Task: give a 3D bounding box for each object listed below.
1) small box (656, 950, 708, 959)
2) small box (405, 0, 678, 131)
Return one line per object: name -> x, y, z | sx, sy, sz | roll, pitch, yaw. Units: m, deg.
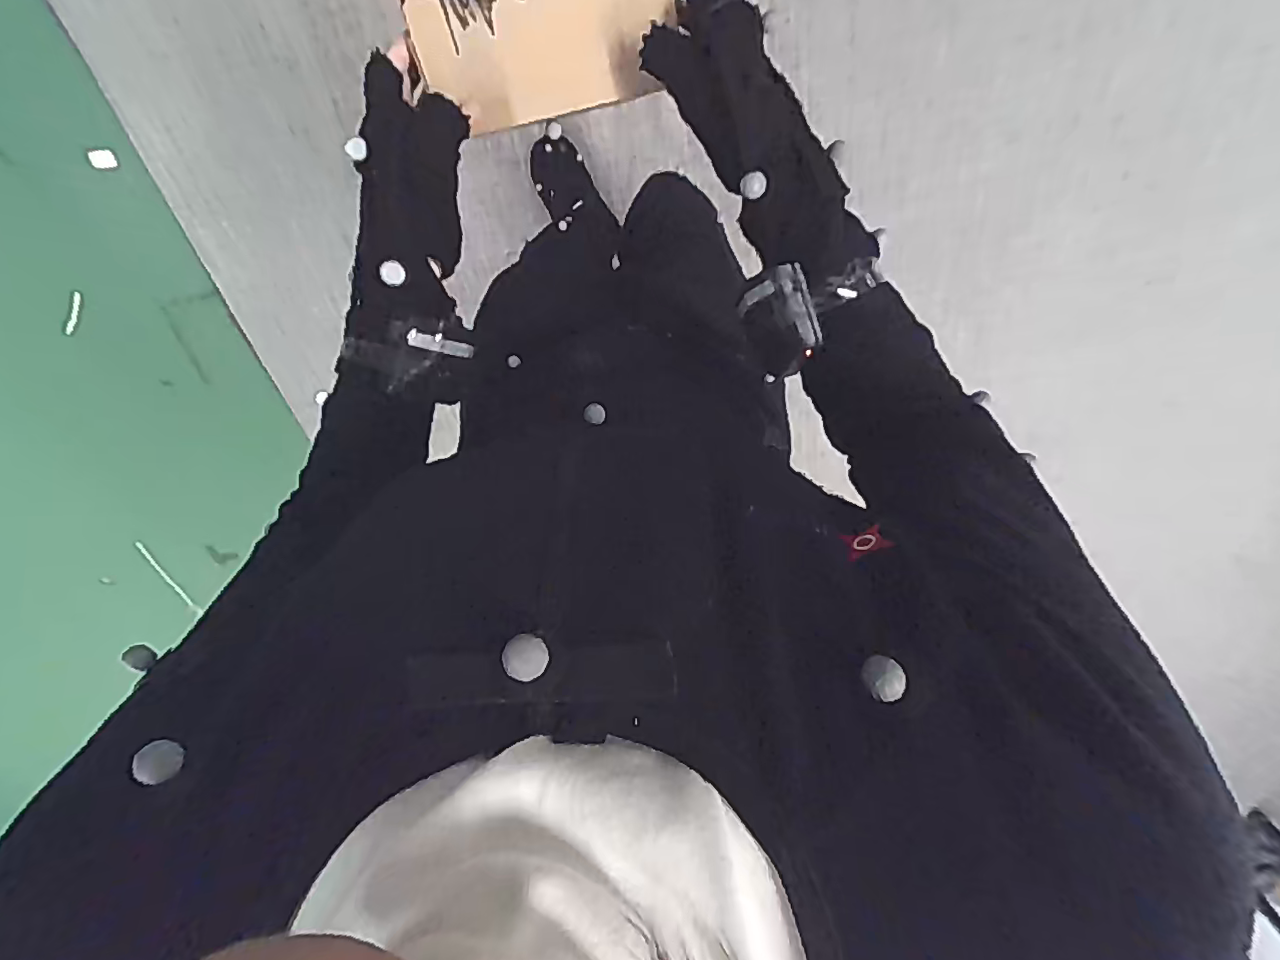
small box -> 0.137, 1.605, 1.686 | 0.179, 0.176, 0.168 | -9, 125, 3
small box -> -0.076, -0.380, 0.414 | 0.179, 0.176, 0.168 | -12, 125, 3
